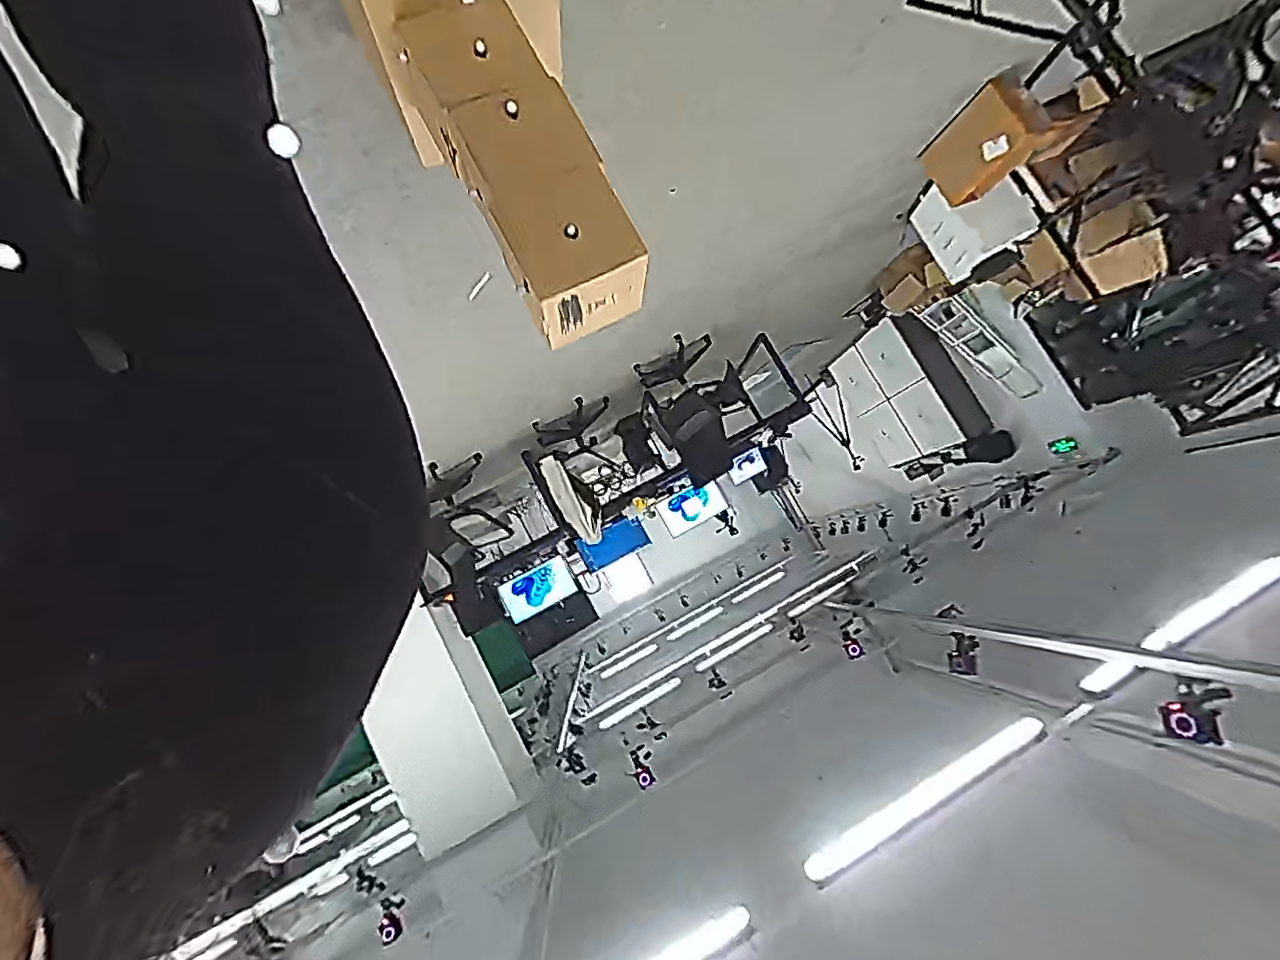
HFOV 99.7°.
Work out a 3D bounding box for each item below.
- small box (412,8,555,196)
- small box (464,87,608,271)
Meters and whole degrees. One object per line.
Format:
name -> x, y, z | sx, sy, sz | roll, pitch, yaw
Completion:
small box -> -0.255, -0.620, 0.894 | 0.179, 0.176, 0.168 | -27, 173, -13
small box -> -0.169, -0.482, 0.876 | 0.179, 0.176, 0.168 | -26, 173, -10
